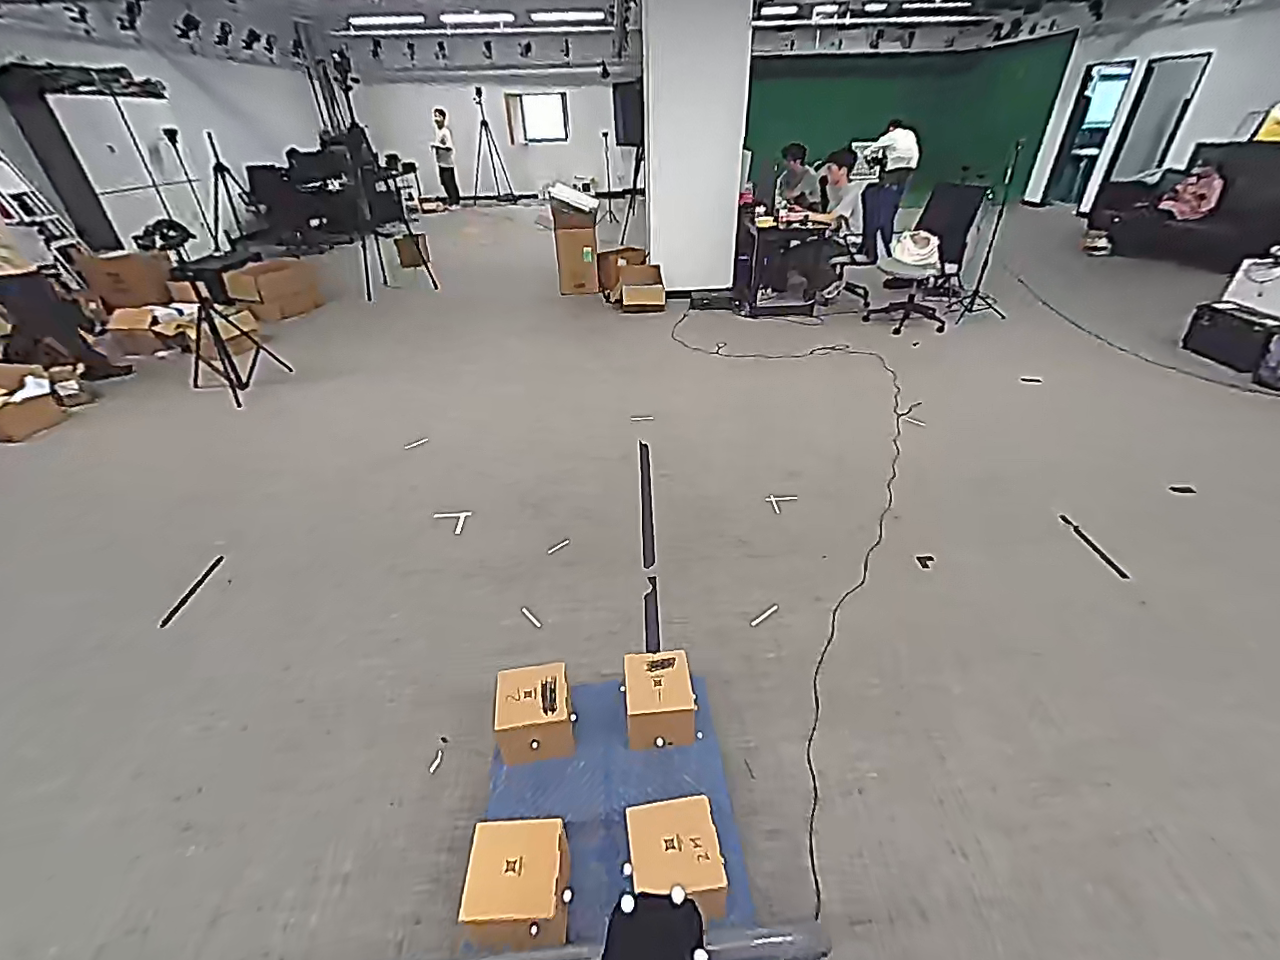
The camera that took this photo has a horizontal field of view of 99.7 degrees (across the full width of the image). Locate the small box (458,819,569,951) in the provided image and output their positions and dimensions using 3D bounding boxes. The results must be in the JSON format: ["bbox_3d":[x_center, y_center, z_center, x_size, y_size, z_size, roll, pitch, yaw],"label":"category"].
[{"bbox_3d":[-0.241,0.806,1.076,0.179,0.176,0.168,-1,33,-2],"label":"small box"}]

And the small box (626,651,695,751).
[{"bbox_3d":[0.047,0.574,1.408,0.168,0.176,0.179,-4,35,-3],"label":"small box"}]

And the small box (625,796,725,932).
[{"bbox_3d":[0.068,0.780,1.098,0.179,0.176,0.168,-6,34,-5],"label":"small box"}]
